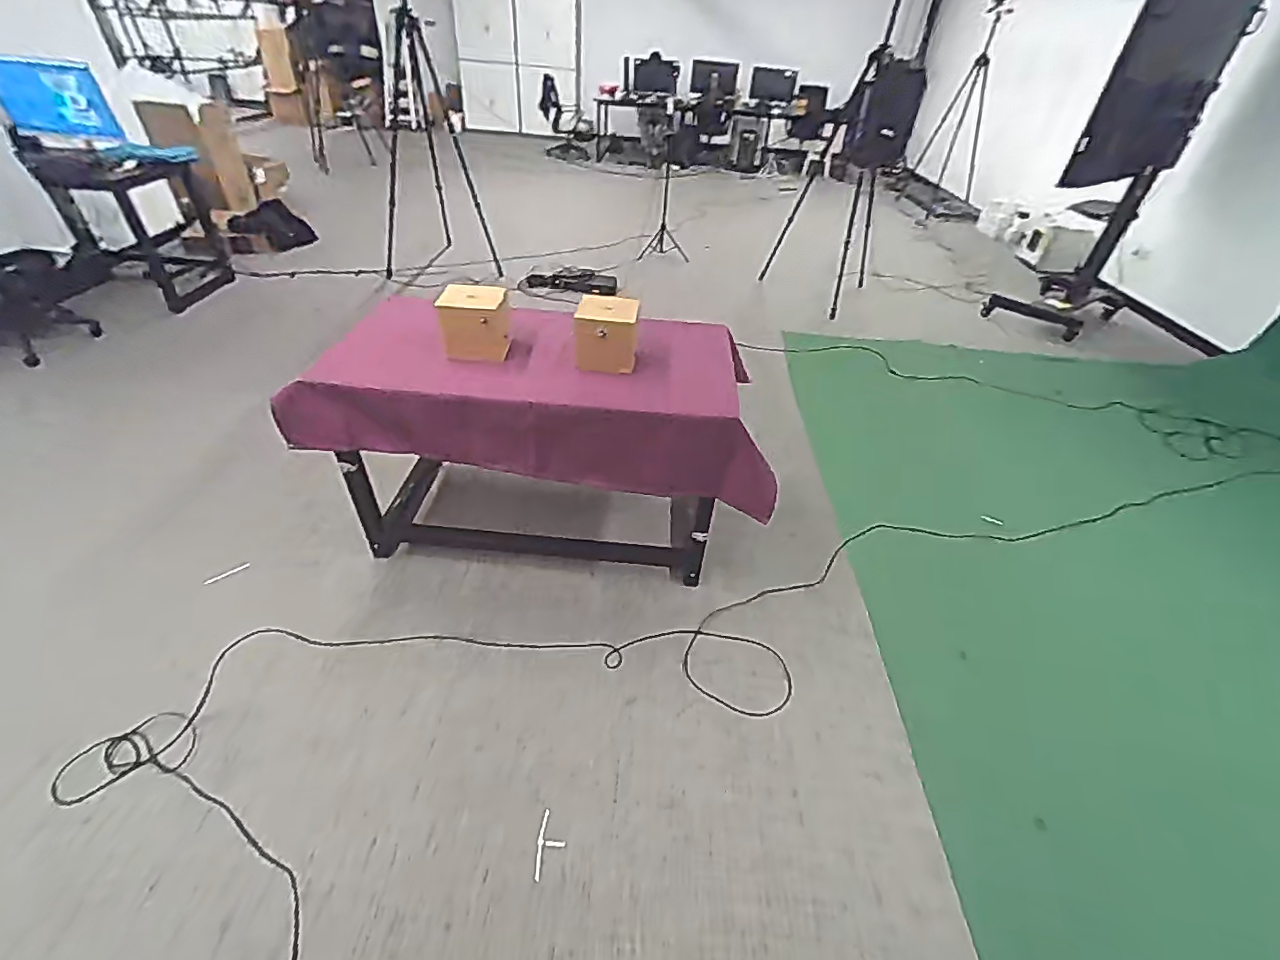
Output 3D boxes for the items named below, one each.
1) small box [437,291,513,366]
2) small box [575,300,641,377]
[{"bbox_3d":[-0.489,-0.455,1.629,0.179,0.176,0.168,3,39,-3],"label":"small box"},{"bbox_3d":[-0.094,-0.423,1.622,0.179,0.176,0.168,7,40,2],"label":"small box"}]
